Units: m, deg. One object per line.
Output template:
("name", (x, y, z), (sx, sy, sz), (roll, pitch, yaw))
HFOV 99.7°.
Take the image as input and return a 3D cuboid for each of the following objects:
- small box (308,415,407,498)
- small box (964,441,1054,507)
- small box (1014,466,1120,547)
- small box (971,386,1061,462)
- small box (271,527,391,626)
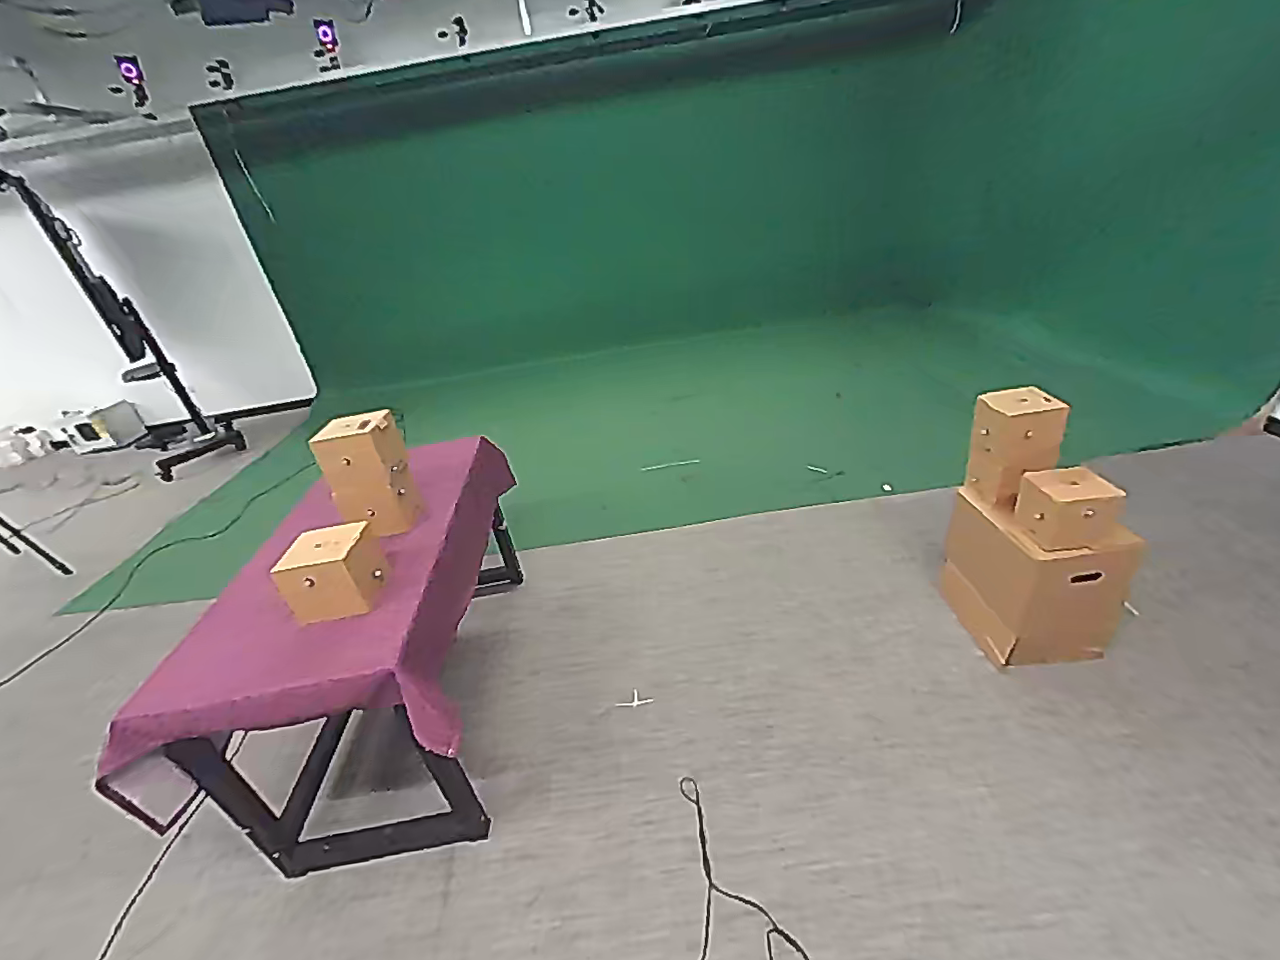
("small box", (-0.814, -0.068, 1.582), (0.179, 0.176, 0.168), (-11, 29, 2))
("small box", (1.190, -0.032, 1.761), (0.179, 0.176, 0.168), (-11, 30, 3))
("small box", (1.212, 0.079, 1.553), (0.179, 0.176, 0.168), (-7, 28, 5))
("small box", (1.157, -0.171, 1.681), (0.179, 0.176, 0.168), (-10, 30, 5))
("small box", (-0.758, 0.243, 1.348), (0.179, 0.176, 0.168), (-10, 29, 1))
